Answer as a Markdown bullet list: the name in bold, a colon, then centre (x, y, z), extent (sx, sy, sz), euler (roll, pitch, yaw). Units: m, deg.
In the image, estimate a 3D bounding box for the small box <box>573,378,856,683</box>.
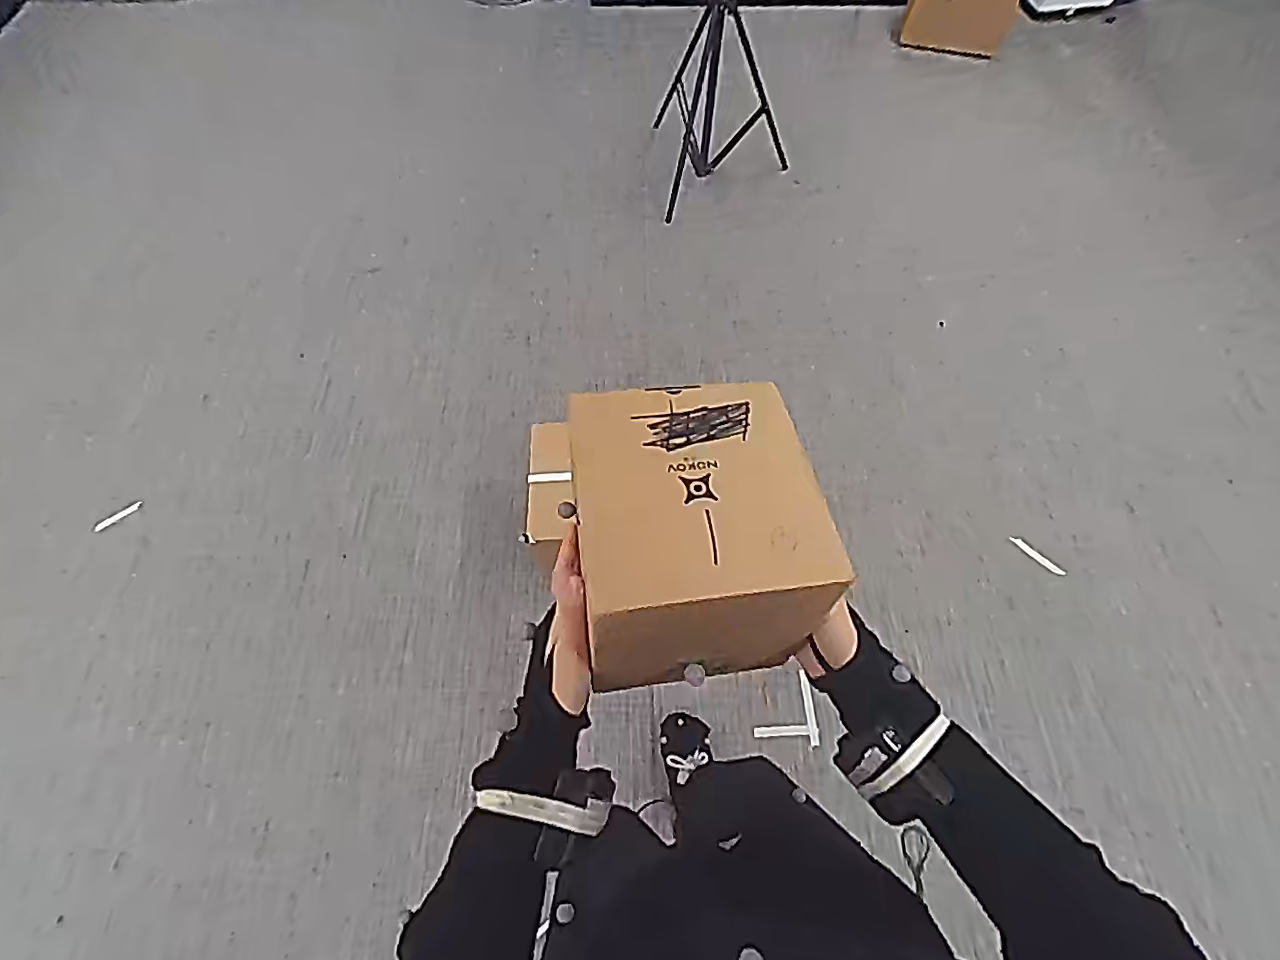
- **small box**: centre (0.035, 0.042, 0.434), extent (0.168, 0.176, 0.179), euler (-6, 56, -8)
